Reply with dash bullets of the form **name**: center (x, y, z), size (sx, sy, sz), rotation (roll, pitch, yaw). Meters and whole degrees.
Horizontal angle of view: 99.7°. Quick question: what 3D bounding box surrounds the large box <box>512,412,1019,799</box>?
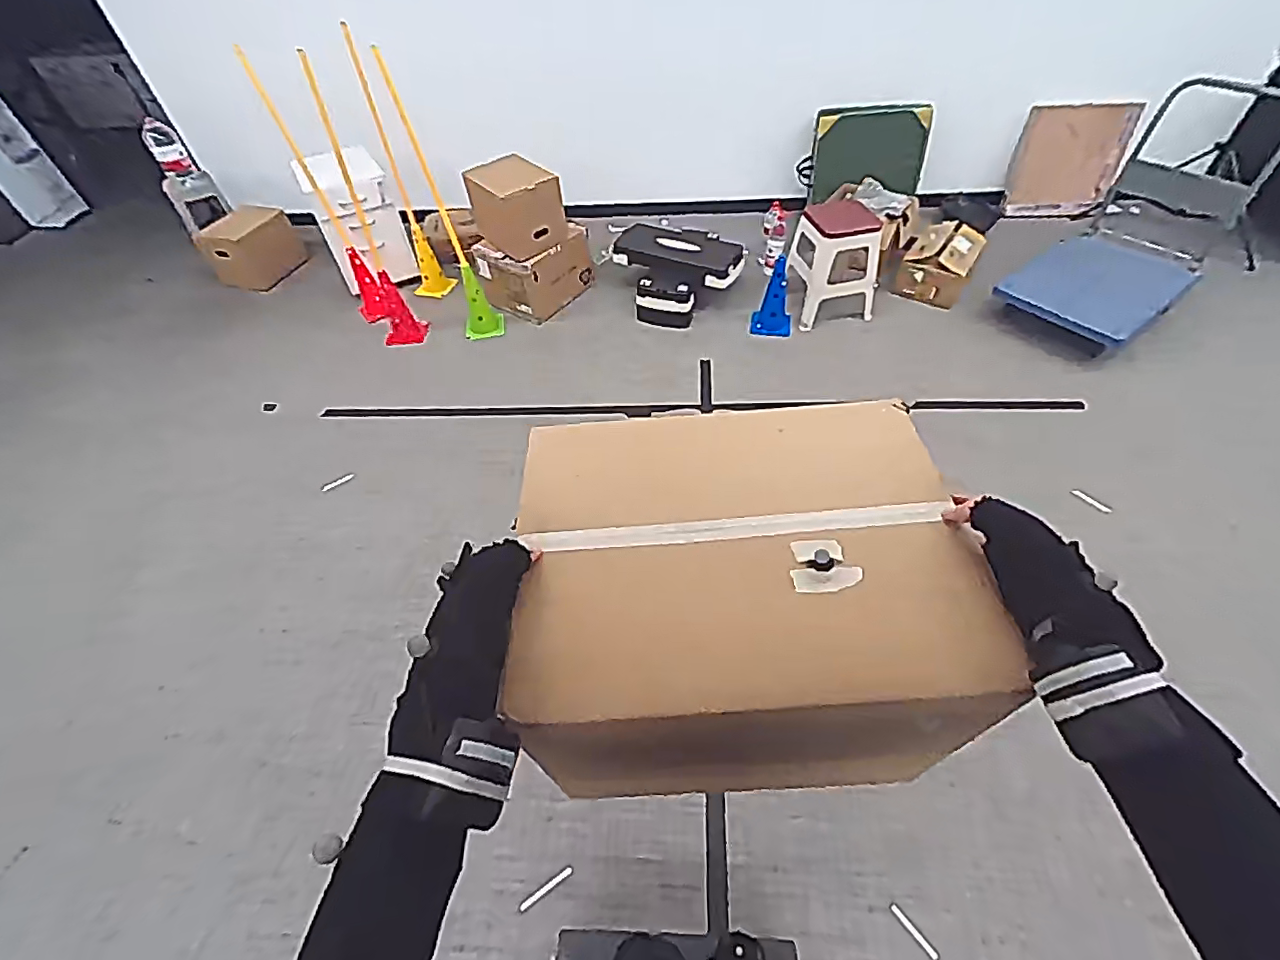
- **large box**: center (0.097, 0.152, 0.625), size (0.408, 0.320, 0.320), rotation (-4, 50, 2)

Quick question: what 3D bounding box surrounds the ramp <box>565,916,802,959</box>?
- **ramp**: center (0.075, 1.360, 0.890), size (0.509, 0.206, 0.991), rotation (-1, 50, 2)
